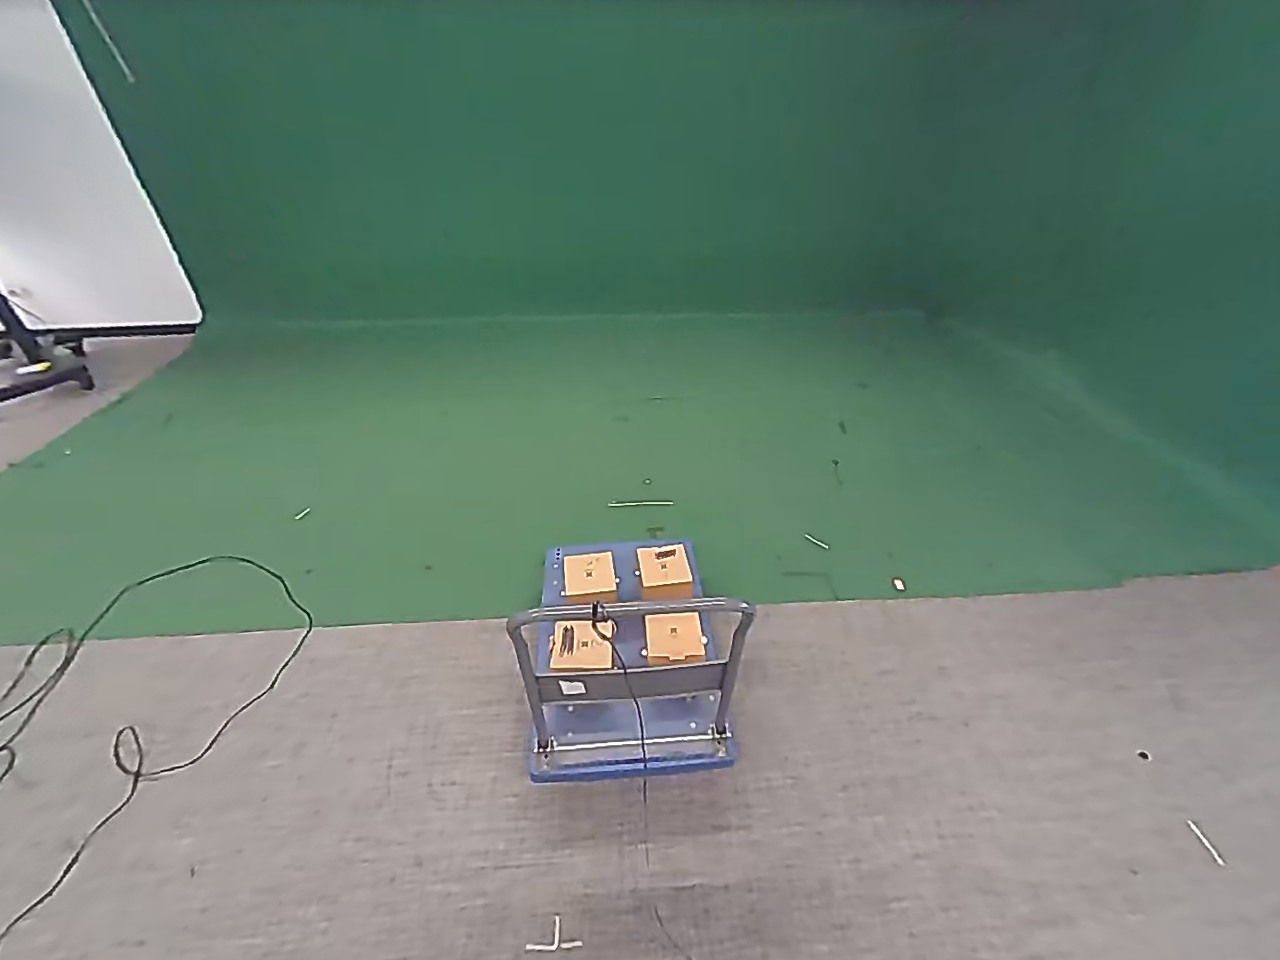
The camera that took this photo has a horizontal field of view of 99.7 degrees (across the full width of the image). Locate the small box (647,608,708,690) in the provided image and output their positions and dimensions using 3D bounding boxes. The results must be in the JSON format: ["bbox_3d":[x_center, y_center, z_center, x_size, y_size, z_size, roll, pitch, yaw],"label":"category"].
[{"bbox_3d":[0.109,0.513,1.643,0.168,0.176,0.179,-2,38,-2],"label":"small box"}]

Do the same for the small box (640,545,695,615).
[{"bbox_3d":[0.090,0.349,1.857,0.168,0.176,0.179,-6,39,-5],"label":"small box"}]

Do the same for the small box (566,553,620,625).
[{"bbox_3d":[-0.159,0.374,1.831,0.168,0.176,0.179,-5,38,-6],"label":"small box"}]
